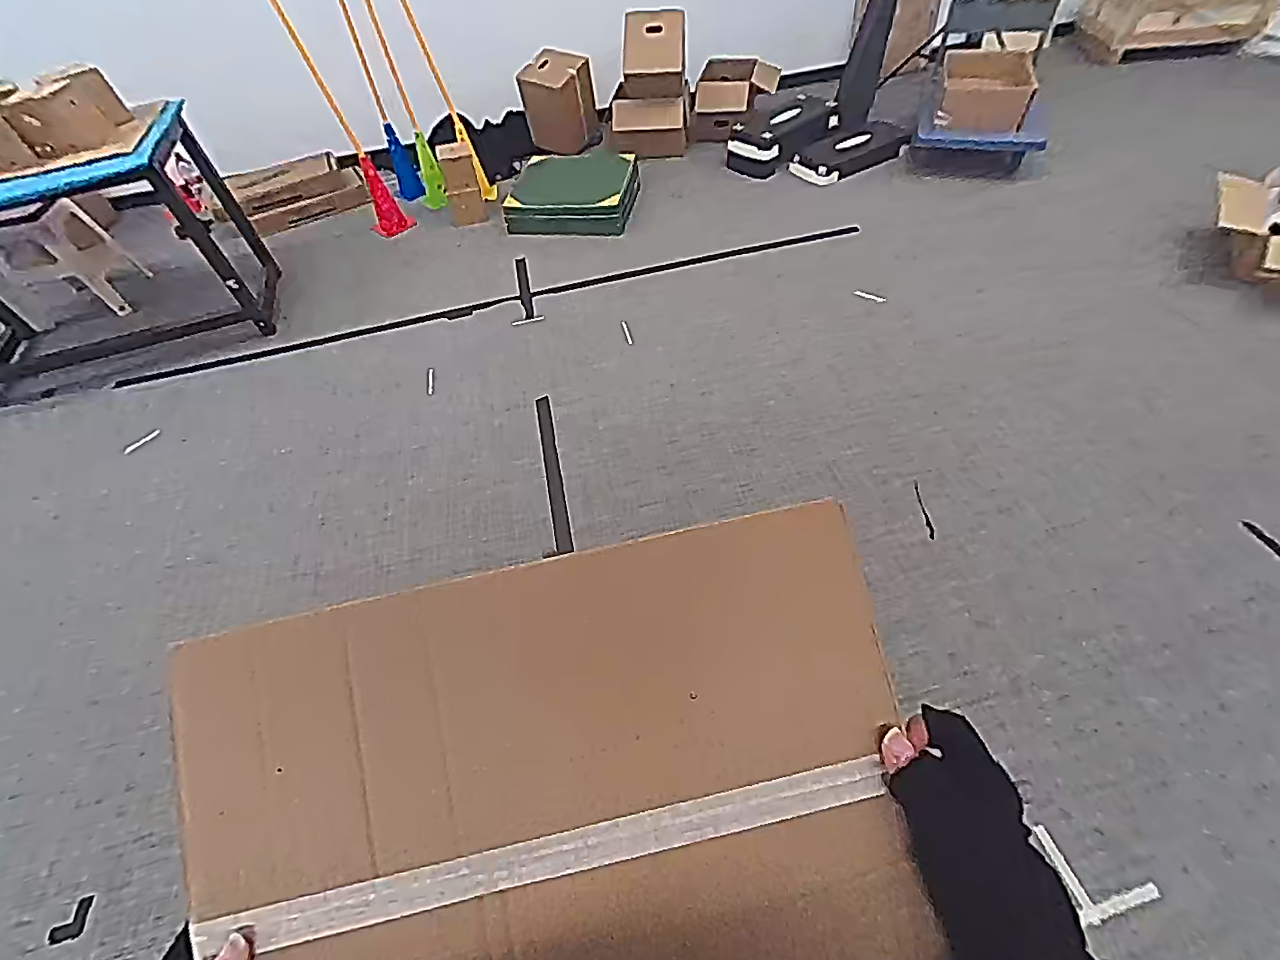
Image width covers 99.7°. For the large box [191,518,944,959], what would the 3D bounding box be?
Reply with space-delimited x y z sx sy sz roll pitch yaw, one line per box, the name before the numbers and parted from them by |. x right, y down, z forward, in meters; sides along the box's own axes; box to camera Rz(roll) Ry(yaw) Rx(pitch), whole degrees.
large box | -0.045 0.234 0.461 0.408 0.320 0.320 -13 81 -3
